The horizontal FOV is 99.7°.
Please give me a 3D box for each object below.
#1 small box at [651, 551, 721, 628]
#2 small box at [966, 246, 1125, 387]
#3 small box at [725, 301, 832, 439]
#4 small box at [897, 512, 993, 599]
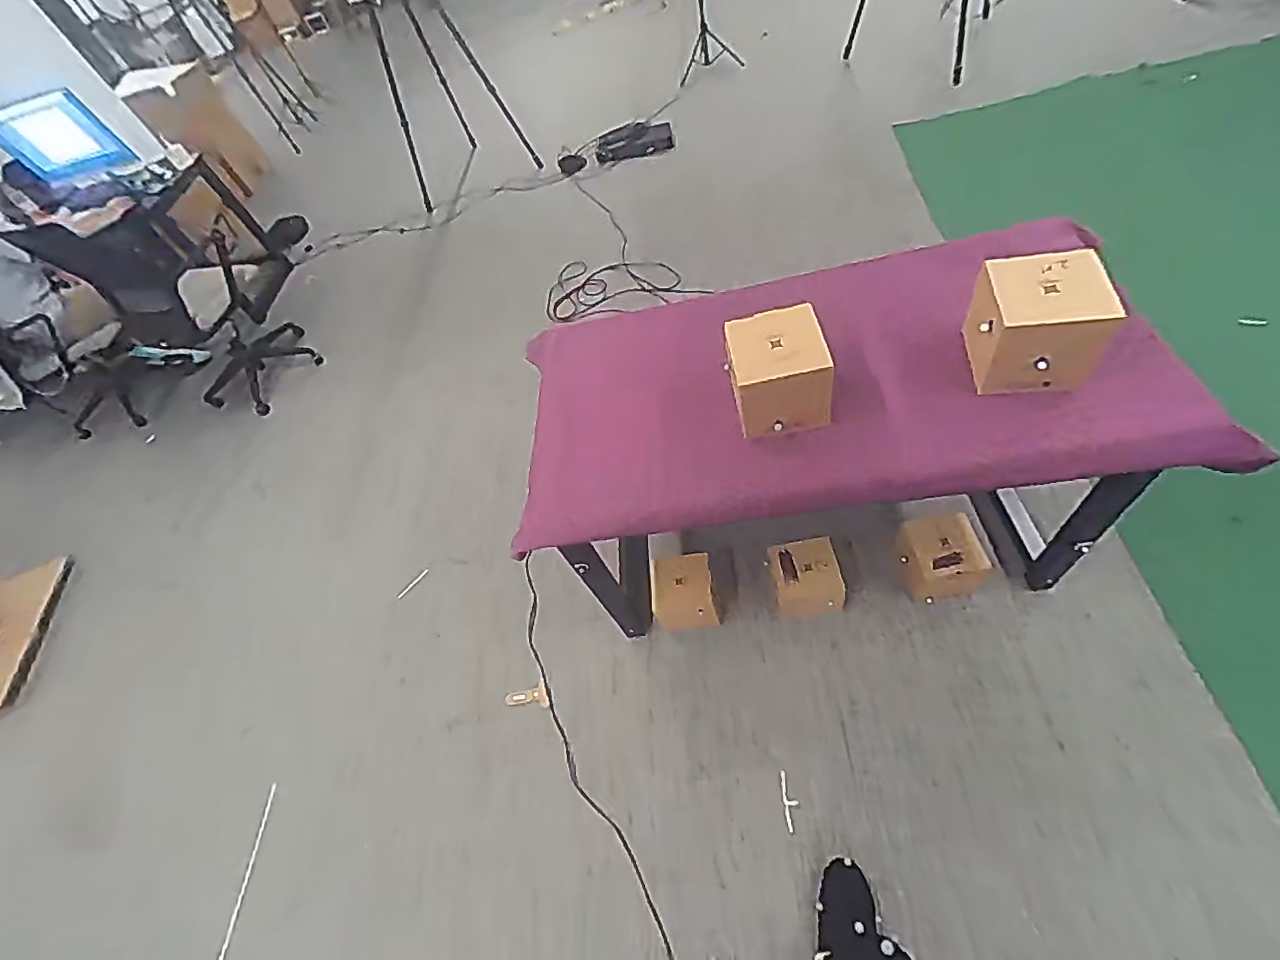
[{"bbox_3d":[0.138,0.331,1.610,0.179,0.176,0.168,-9,54,10],"label":"small box"},{"bbox_3d":[0.693,-0.276,0.949,0.168,0.176,0.179,0,57,17],"label":"small box"},{"bbox_3d":[0.260,-0.205,1.034,0.168,0.176,0.179,-11,55,11],"label":"small box"},{"bbox_3d":[0.824,0.214,1.480,0.168,0.176,0.179,-11,53,9],"label":"small box"}]
